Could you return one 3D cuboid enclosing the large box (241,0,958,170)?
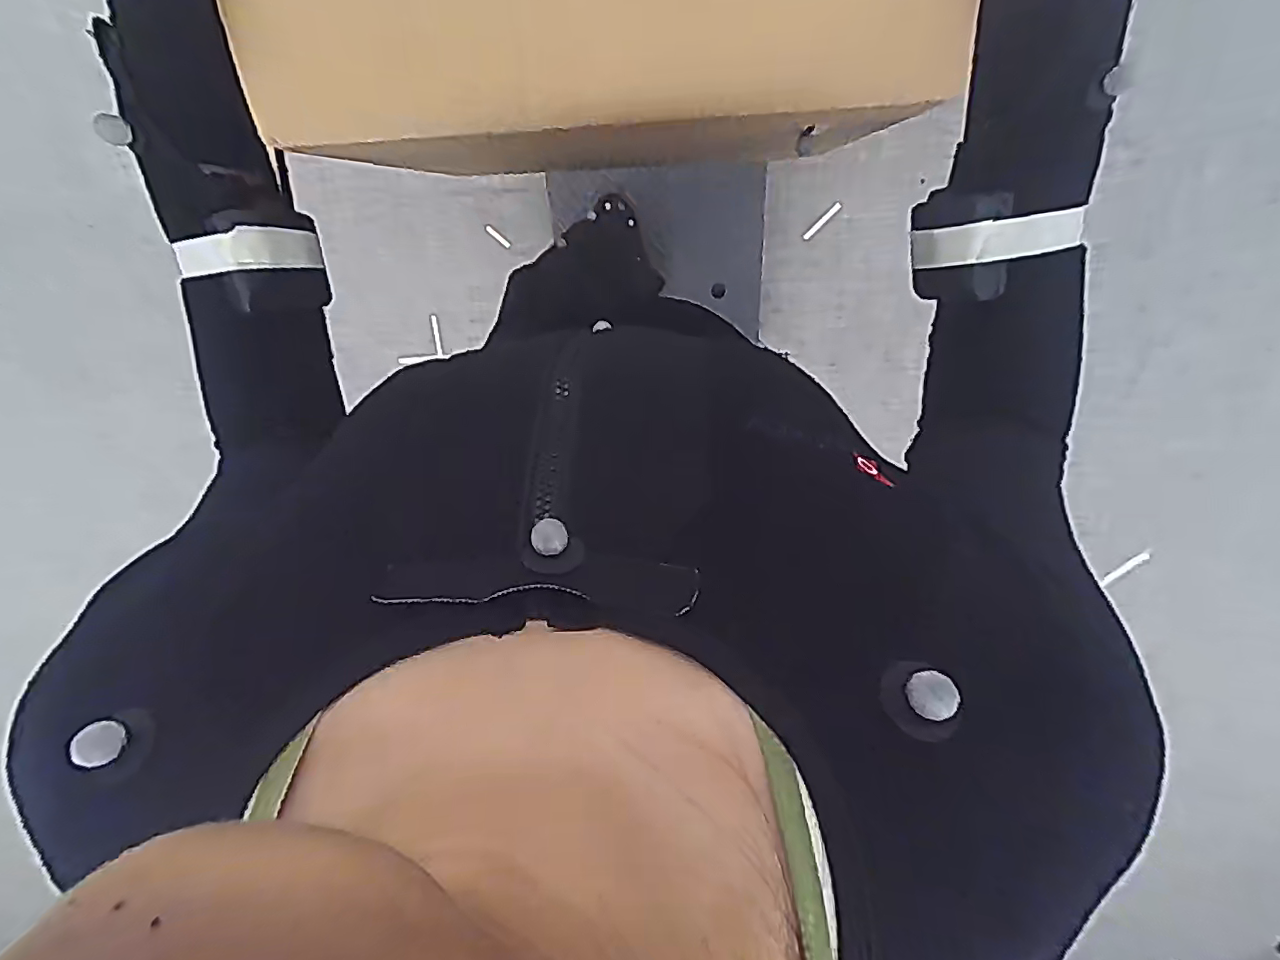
[{"bbox_3d":[-0.023,-0.418,0.387,0.408,0.320,0.320,-1,116,5],"label":"large box"}]
